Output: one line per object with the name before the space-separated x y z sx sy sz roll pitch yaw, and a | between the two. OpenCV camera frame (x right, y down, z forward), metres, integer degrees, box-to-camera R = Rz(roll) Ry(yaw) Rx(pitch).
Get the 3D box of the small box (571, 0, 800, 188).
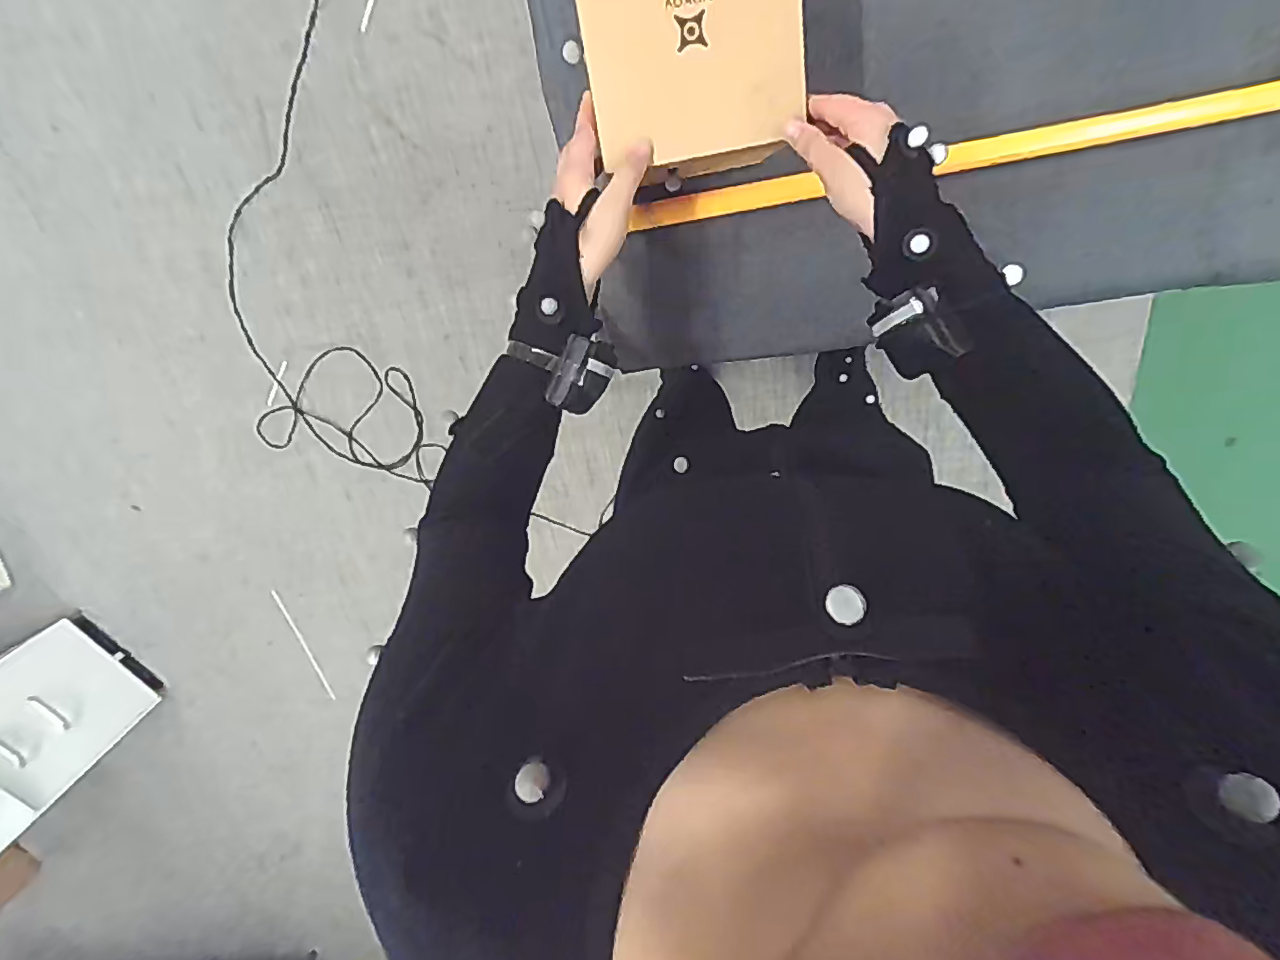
small box | 0.035 -0.367 0.474 0.168 0.176 0.179 -9 113 3
